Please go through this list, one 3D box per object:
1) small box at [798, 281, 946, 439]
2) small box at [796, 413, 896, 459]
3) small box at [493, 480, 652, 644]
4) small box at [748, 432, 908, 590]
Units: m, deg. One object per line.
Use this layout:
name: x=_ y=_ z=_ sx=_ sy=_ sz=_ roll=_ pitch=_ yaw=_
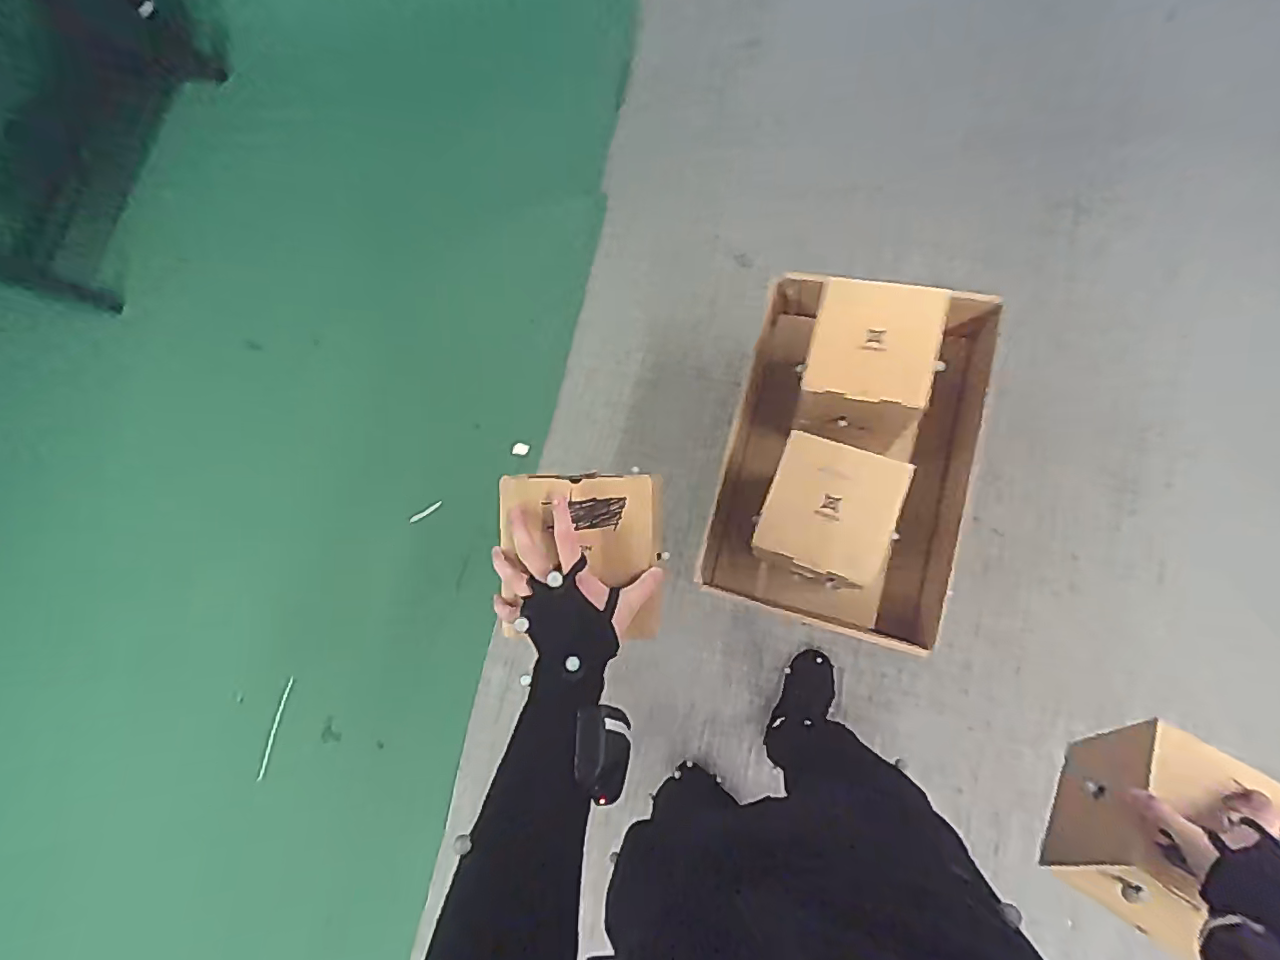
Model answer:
small box: x=0.347 y=-0.179 z=0.843 sx=0.168 sy=0.176 sz=0.179 roll=14 pitch=84 yaw=15
small box: x=0.387 y=-0.152 z=0.998 sx=0.168 sy=0.176 sz=0.179 roll=14 pitch=84 yaw=17
small box: x=-0.072 y=0.089 z=0.660 sx=0.168 sy=0.176 sz=0.179 roll=-1 pitch=90 yaw=4
small box: x=0.273 y=0.054 z=0.810 sx=0.168 sy=0.176 sz=0.179 roll=21 pitch=83 yaw=16
